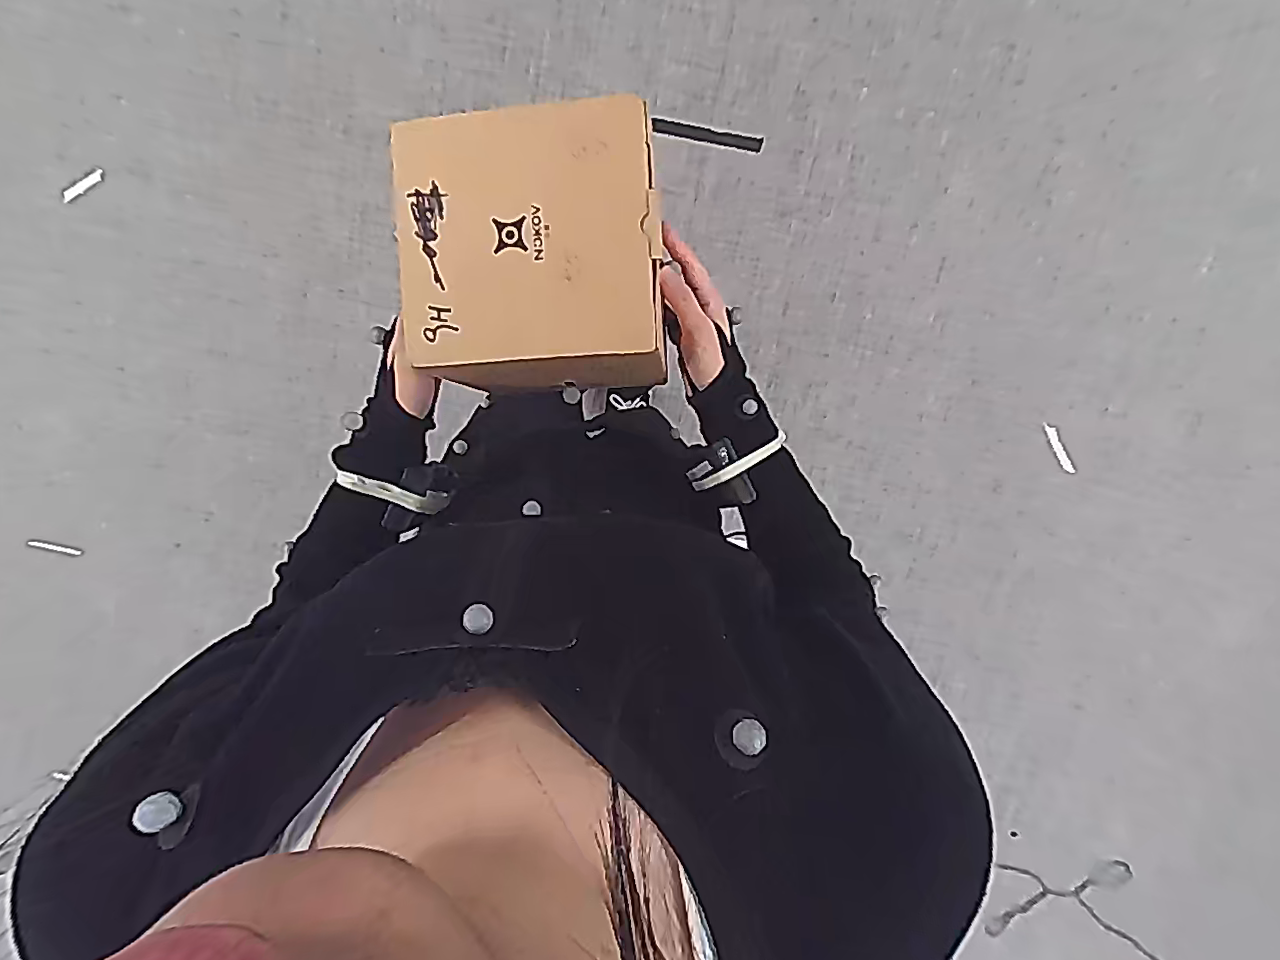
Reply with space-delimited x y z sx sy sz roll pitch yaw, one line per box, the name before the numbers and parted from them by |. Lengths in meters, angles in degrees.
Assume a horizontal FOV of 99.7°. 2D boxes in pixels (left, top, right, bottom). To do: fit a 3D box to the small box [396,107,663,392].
small box | -0.070 -0.164 0.440 0.179 0.176 0.168 -2 92 4
